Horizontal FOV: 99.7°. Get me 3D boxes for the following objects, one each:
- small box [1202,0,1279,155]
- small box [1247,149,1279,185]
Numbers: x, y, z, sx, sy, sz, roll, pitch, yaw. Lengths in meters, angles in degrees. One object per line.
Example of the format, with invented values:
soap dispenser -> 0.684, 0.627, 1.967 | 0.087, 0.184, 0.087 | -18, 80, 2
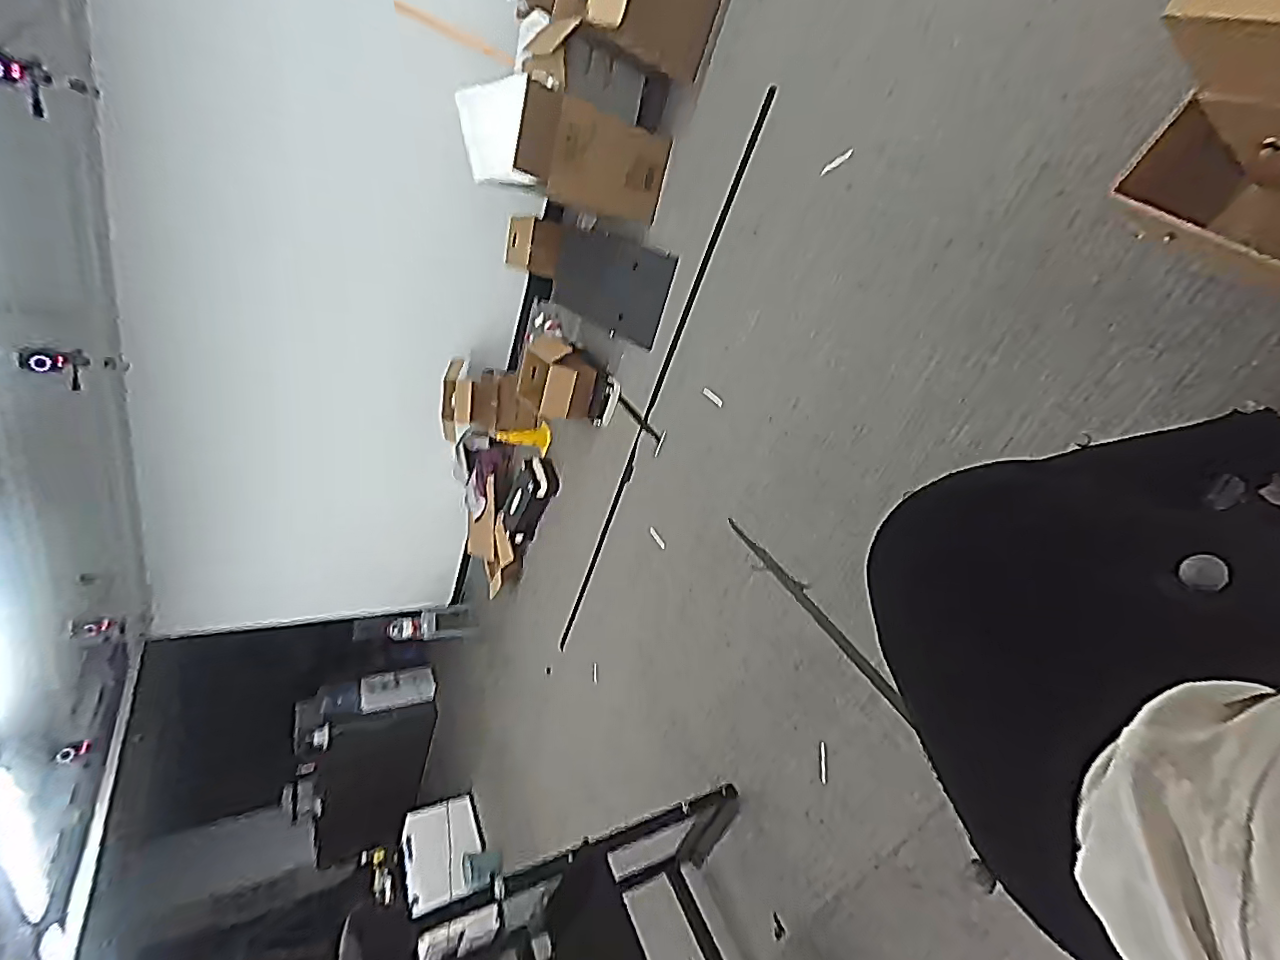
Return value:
small box -> 0.825, -0.495, 0.621 | 0.168, 0.176, 0.179 | 56, 131, 42
small box -> 0.962, -0.483, 0.709 | 0.179, 0.176, 0.168 | 57, 133, 39
